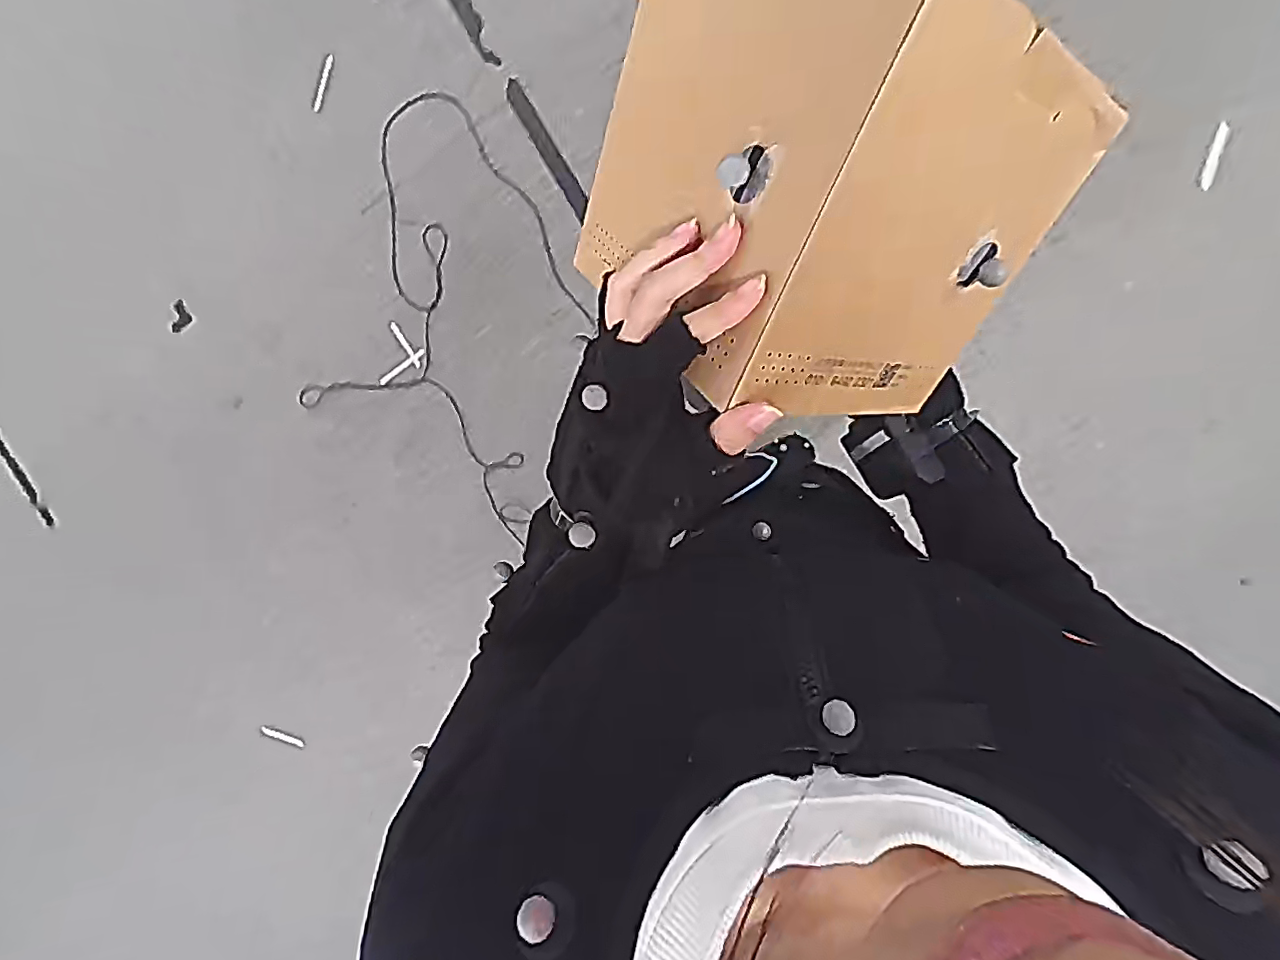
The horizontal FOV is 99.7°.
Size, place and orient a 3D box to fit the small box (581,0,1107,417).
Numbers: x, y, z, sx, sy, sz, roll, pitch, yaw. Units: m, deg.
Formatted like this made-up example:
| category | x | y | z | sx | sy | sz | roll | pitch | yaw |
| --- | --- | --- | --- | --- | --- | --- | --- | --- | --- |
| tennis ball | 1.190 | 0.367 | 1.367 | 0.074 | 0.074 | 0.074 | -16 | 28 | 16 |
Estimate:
| category | x | y | z | sx | sy | sz | roll | pitch | yaw |
| --- | --- | --- | --- | --- | --- | --- | --- | --- | --- |
| small box | 0.087 | -0.147 | 0.304 | 0.168 | 0.179 | 0.176 | -5 | 132 | -34 |
